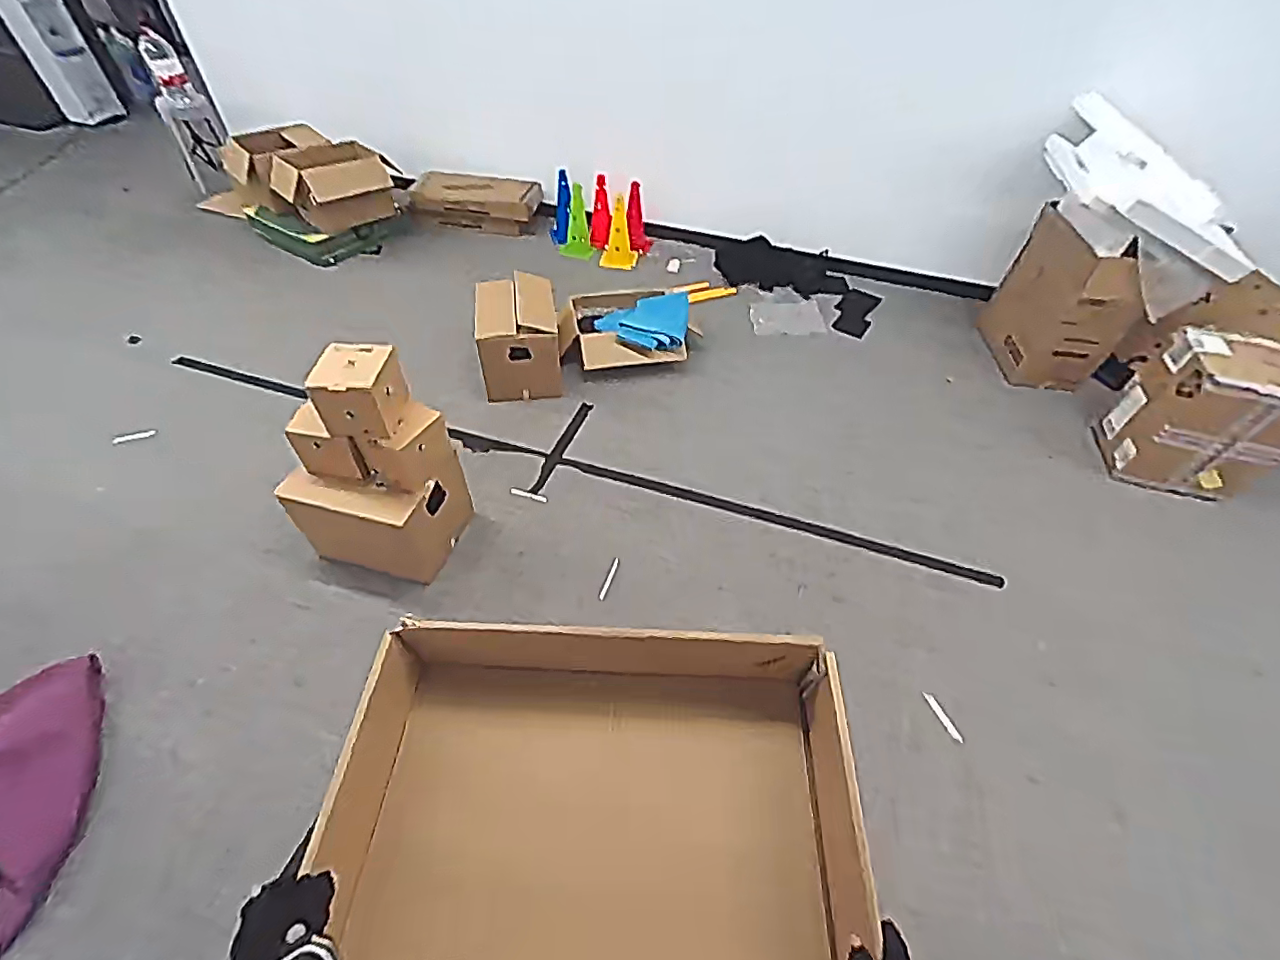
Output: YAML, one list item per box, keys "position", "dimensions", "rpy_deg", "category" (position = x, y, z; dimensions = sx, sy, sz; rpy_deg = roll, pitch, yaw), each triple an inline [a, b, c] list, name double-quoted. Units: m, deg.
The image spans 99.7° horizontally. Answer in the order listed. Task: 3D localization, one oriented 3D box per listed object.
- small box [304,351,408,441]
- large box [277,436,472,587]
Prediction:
- position: [-0.733, -0.218, 1.421]
  dimensions: [0.168, 0.176, 0.179]
  rpy_deg: [2, 49, -1]
  category: "small box"
- position: [-0.795, 0.091, 1.686]
  dimensions: [0.408, 0.320, 0.320]
  rpy_deg: [12, 49, 6]
  category: "large box"
